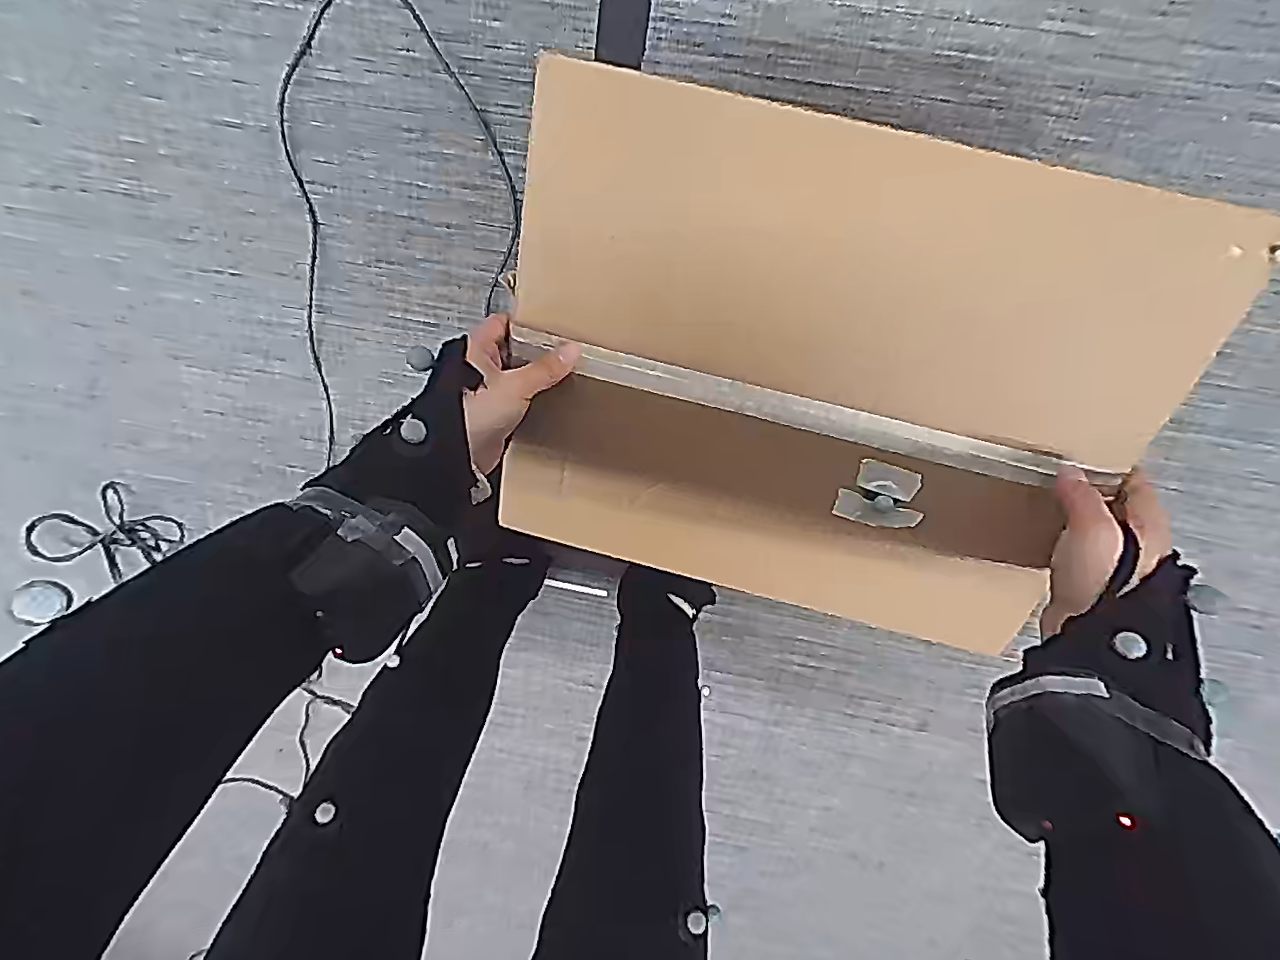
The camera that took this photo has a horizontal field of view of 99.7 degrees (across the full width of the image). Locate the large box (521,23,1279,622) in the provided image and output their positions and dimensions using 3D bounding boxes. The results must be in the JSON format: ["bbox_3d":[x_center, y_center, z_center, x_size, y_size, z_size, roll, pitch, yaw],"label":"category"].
[{"bbox_3d":[0.144,-0.133,0.479,0.408,0.320,0.320,14,119,2],"label":"large box"}]
